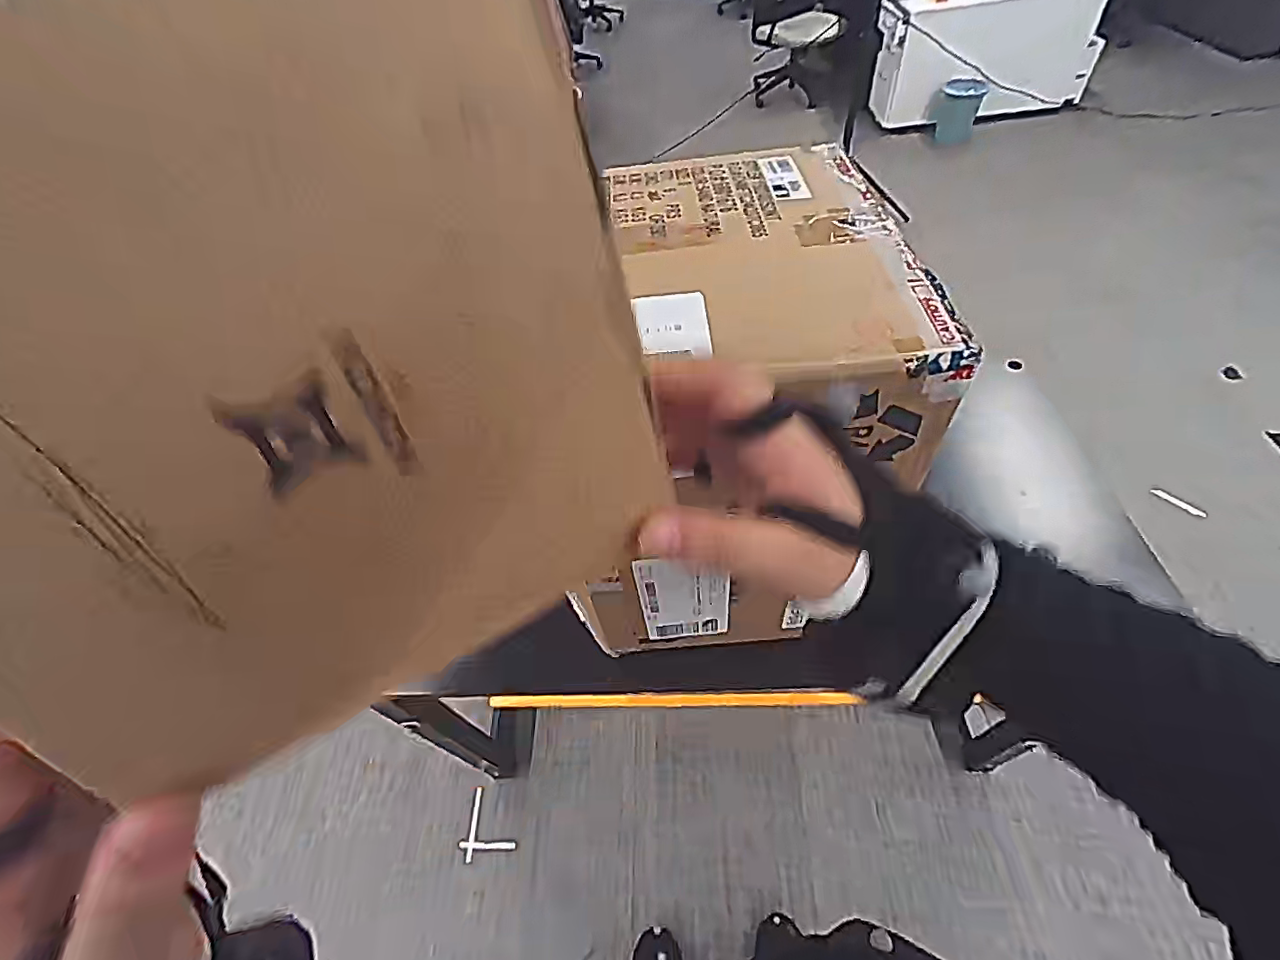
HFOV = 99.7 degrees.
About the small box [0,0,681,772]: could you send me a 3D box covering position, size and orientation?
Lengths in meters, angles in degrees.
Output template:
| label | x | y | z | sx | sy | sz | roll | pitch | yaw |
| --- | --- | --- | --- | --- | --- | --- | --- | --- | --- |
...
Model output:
| label | x | y | z | sx | sy | sz | roll | pitch | yaw |
| --- | --- | --- | --- | --- | --- | --- | --- | --- | --- |
| small box | -0.113 | -0.052 | 0.193 | 0.179 | 0.168 | 0.176 | -28 | 36 | -15 |
